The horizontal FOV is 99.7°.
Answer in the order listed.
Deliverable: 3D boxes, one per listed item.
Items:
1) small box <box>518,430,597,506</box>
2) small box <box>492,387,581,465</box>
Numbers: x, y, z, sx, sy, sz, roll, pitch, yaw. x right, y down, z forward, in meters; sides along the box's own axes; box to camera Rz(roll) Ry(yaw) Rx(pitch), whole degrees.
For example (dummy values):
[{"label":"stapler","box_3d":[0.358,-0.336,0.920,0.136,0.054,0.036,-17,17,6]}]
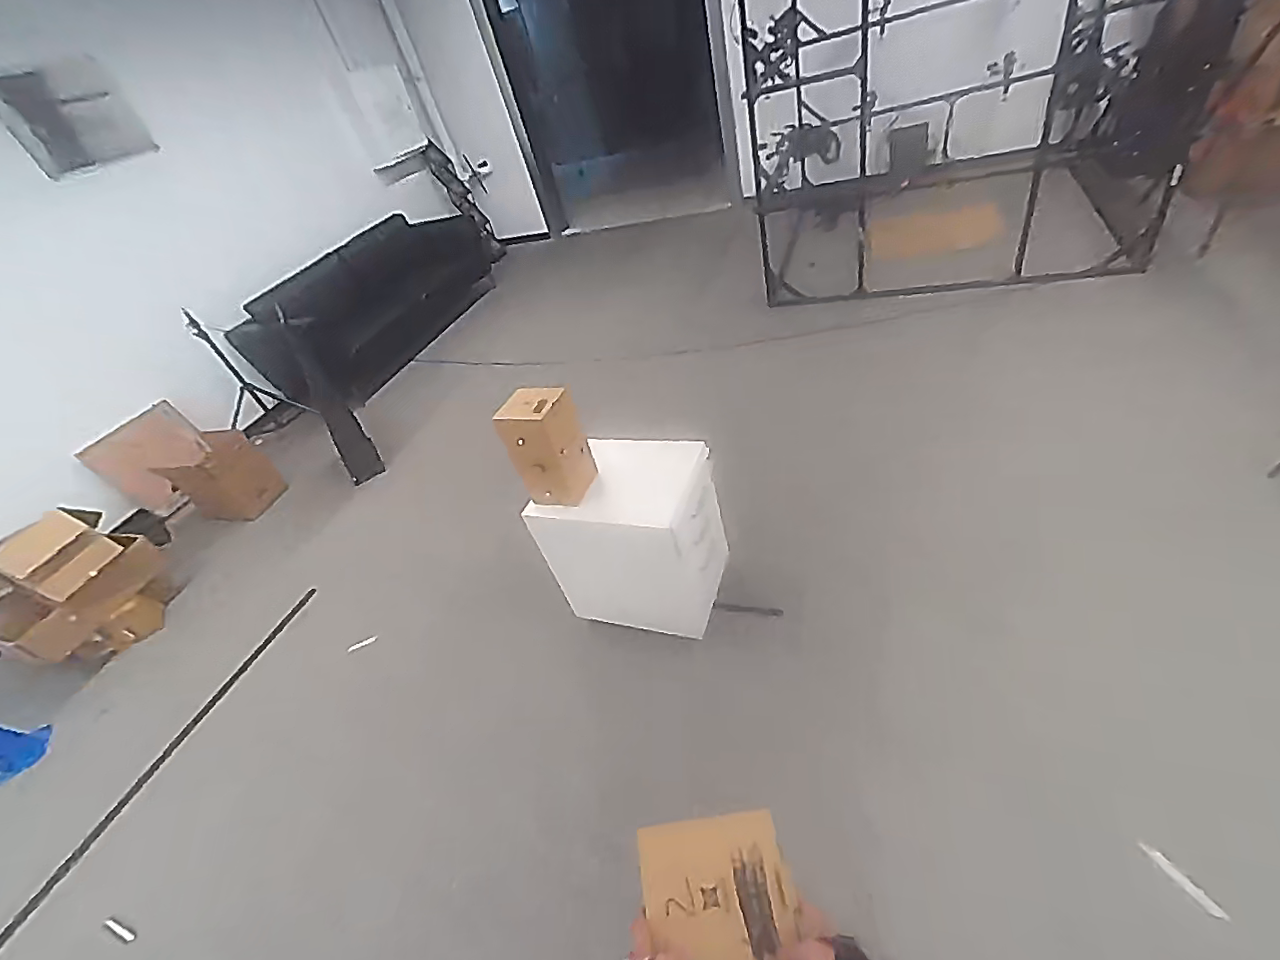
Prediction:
[{"label":"small box","box_3d":[-0.252,-0.041,1.707,0.168,0.176,0.179,2,43,24]},{"label":"small box","box_3d":[-0.297,-0.159,1.601,0.179,0.176,0.168,2,43,25]}]
